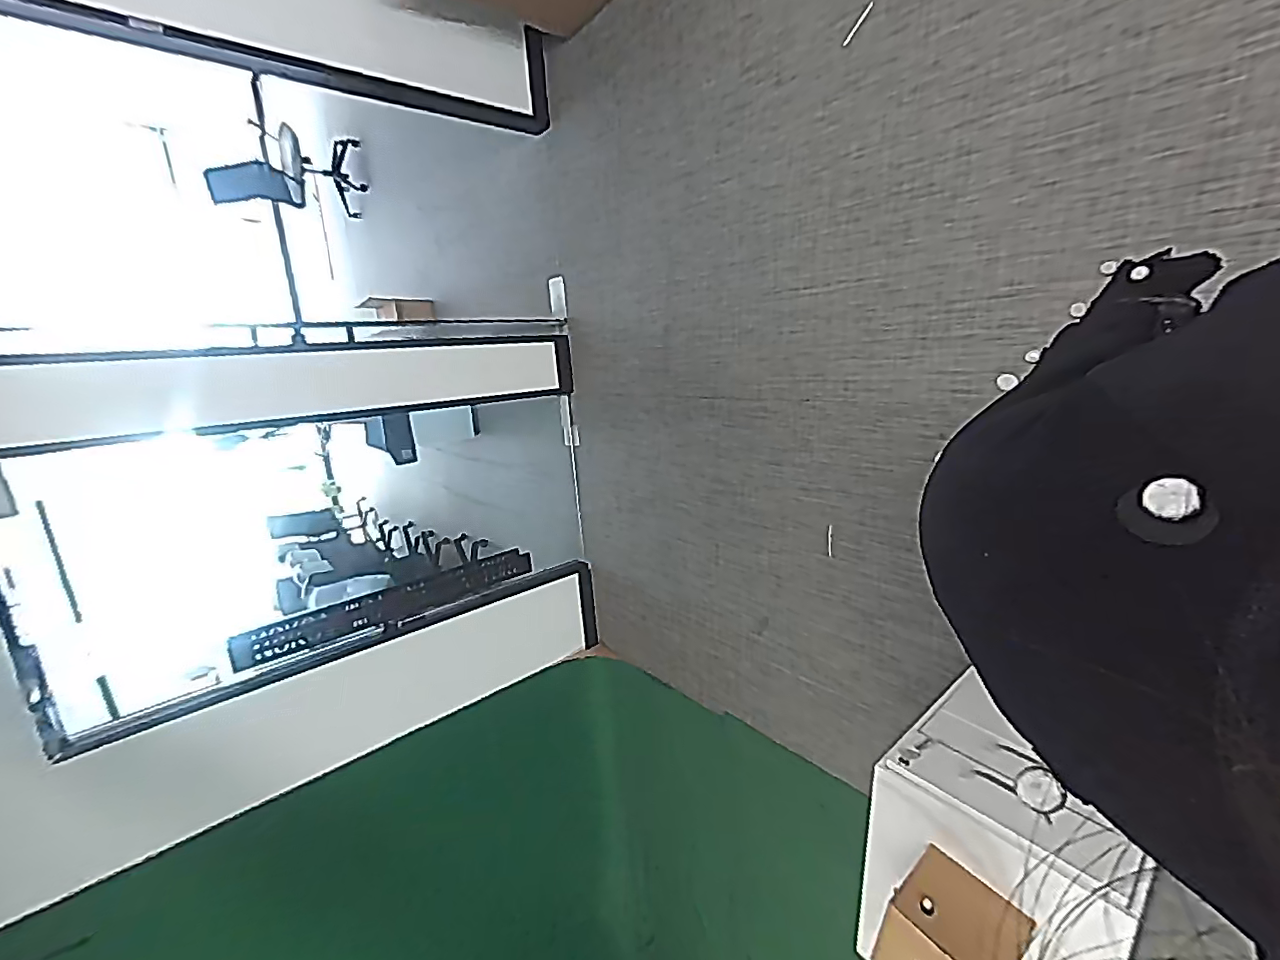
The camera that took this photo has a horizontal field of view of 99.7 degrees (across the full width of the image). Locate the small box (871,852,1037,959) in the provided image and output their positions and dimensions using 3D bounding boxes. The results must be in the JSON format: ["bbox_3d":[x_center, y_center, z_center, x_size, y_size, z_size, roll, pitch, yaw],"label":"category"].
[{"bbox_3d":[0.535,0.788,0.928,0.179,0.176,0.168,25,121,45],"label":"small box"}]
